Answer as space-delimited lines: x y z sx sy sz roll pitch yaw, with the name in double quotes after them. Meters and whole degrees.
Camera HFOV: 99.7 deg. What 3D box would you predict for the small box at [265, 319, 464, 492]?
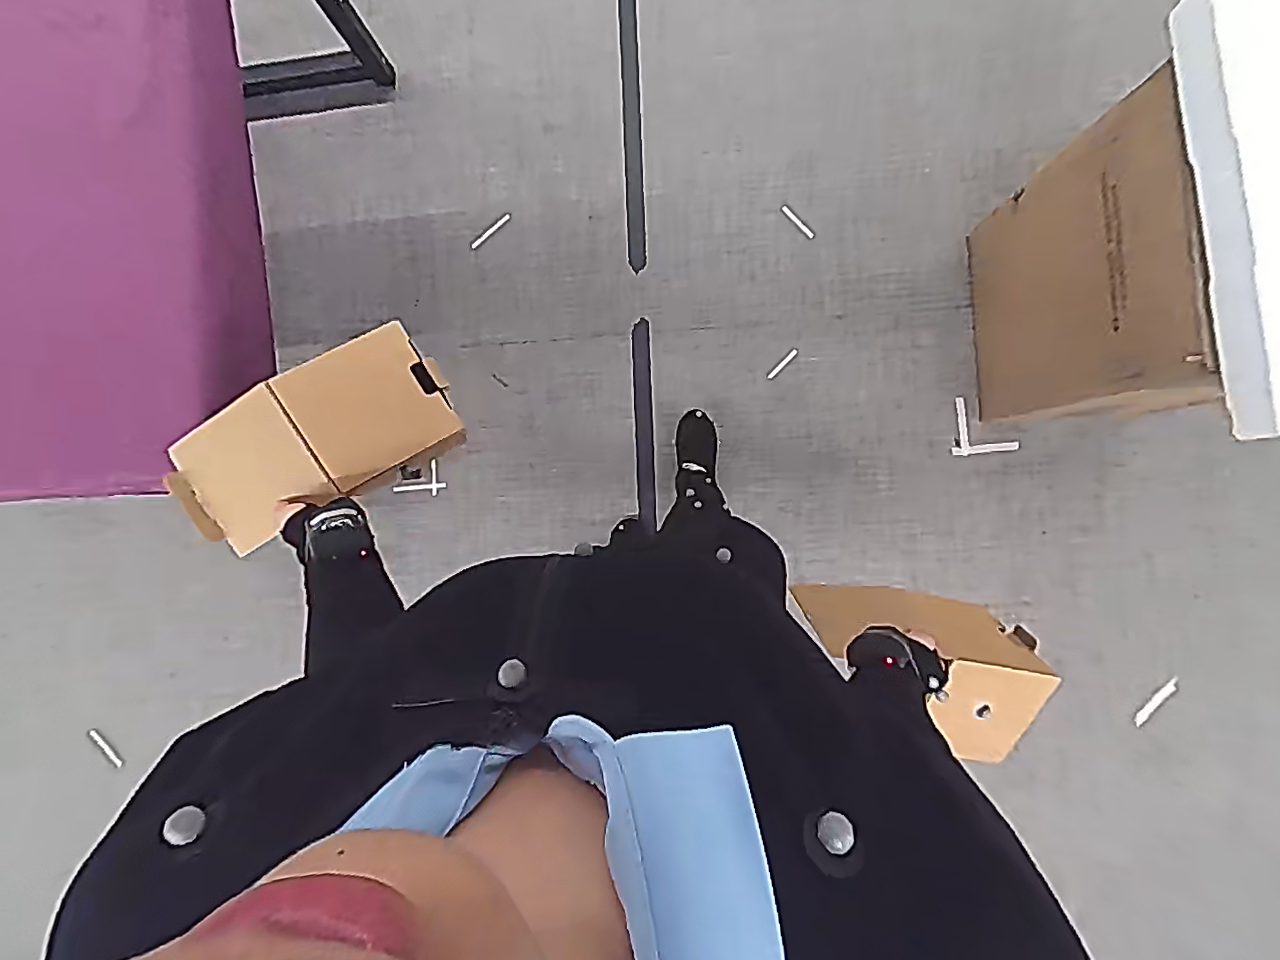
-0.364 -0.092 0.757 0.179 0.176 0.168 -32 97 -15 "small box"
